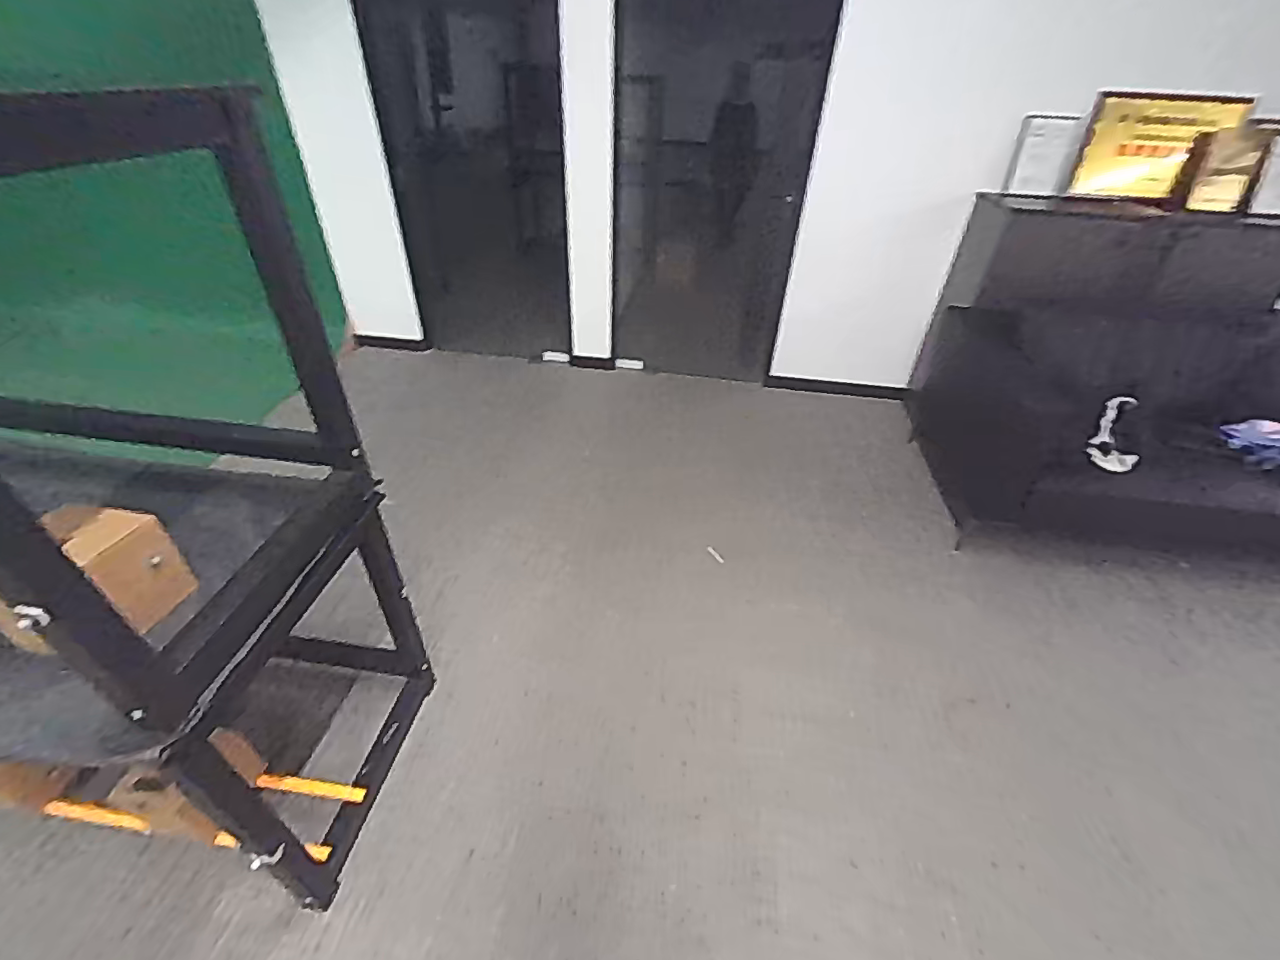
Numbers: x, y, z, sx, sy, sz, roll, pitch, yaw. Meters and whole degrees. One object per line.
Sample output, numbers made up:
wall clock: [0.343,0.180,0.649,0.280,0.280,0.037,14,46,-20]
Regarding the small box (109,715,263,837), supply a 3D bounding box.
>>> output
small box: [-1.003,0.667,1.217,0.168,0.176,0.179,9,38,7]
